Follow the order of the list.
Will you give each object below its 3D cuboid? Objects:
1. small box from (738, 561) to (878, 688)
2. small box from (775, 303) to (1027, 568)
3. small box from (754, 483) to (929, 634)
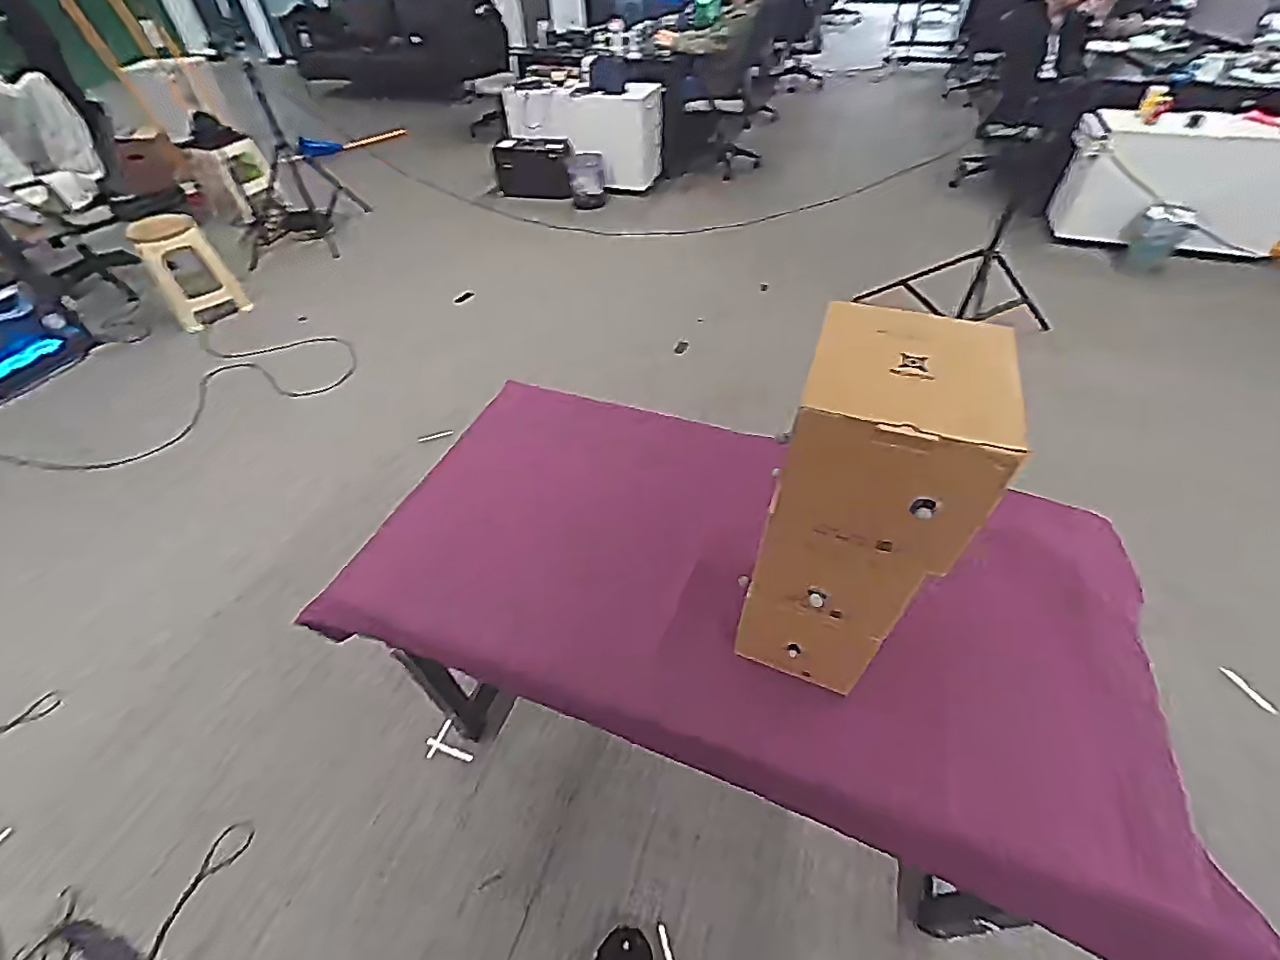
[{"bbox_3d":[0.244,0.166,0.773,0.168,0.176,0.179,17,50,16],"label":"small box"},{"bbox_3d":[0.234,-0.042,0.521,0.168,0.176,0.179,14,49,14],"label":"small box"},{"bbox_3d":[0.244,0.052,0.654,0.168,0.176,0.179,16,50,17],"label":"small box"}]
